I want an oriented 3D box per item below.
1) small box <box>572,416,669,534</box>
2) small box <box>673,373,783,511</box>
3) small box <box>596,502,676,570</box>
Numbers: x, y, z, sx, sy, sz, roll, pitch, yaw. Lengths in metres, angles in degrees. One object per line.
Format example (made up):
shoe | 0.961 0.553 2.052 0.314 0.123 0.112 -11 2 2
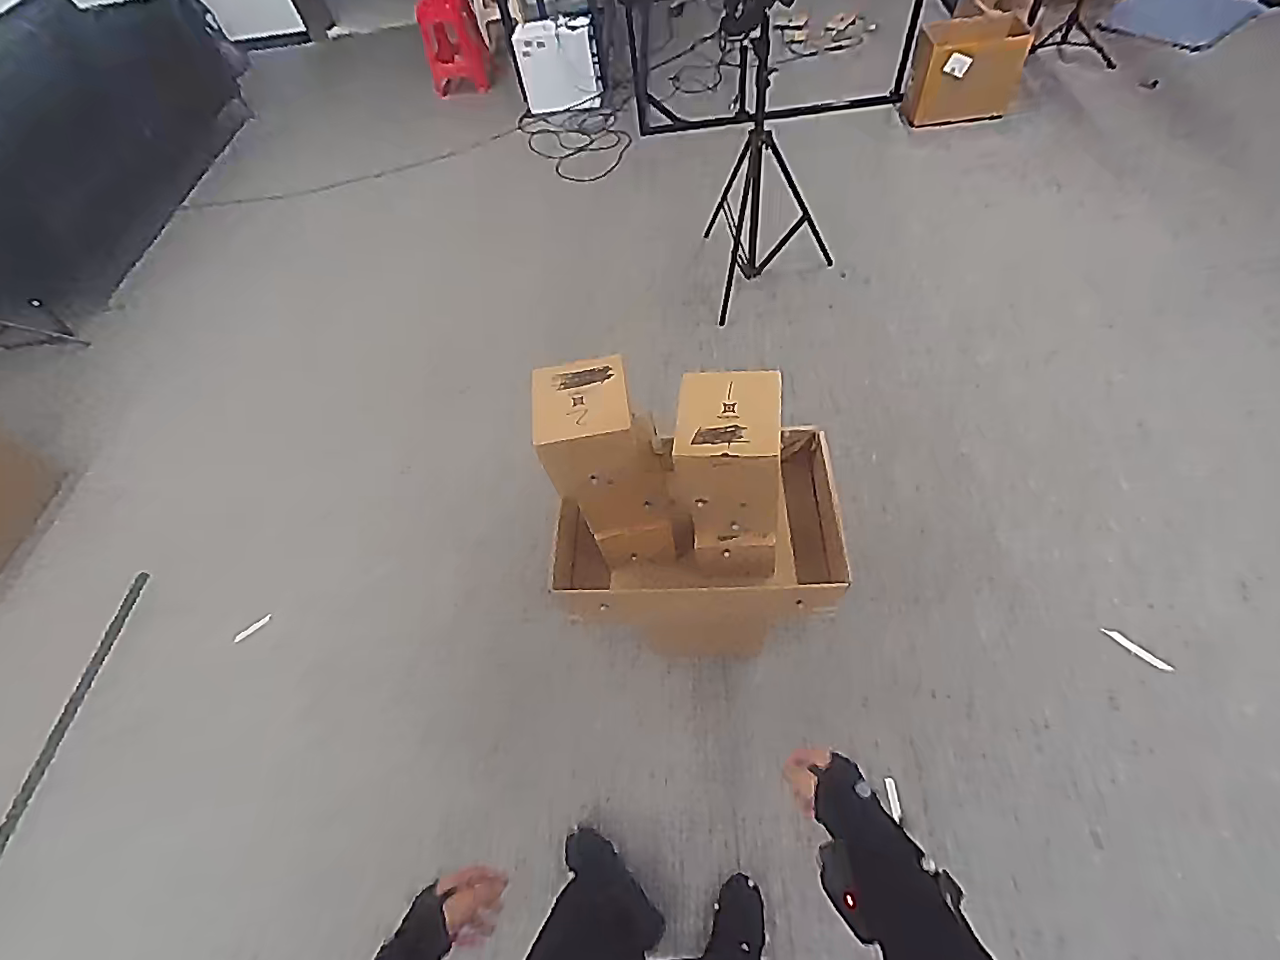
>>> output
small box | -0.036 -0.006 1.119 0.179 0.176 0.168 -9 56 2
small box | 0.157 -0.060 0.923 0.168 0.176 0.179 2 58 14
small box | -0.012 0.087 1.251 0.168 0.176 0.179 -10 57 3
